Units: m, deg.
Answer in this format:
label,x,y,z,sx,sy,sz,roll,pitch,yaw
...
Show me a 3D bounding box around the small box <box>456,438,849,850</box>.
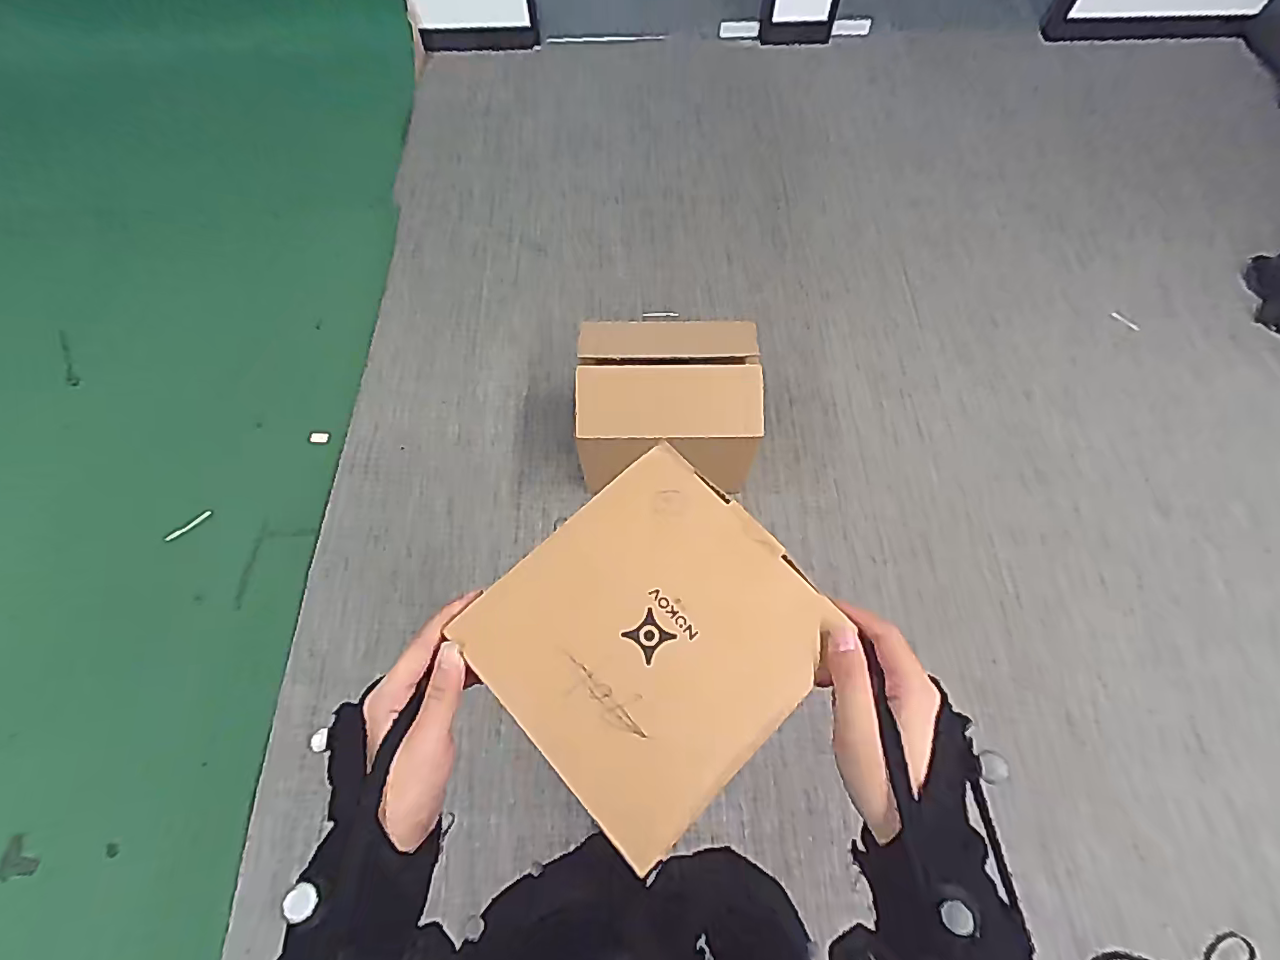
label,x,y,z,sx,sy,sz,roll,pitch,yaw
small box,0.006,0.106,0.391,0.179,0.176,0.168,-42,76,-13
